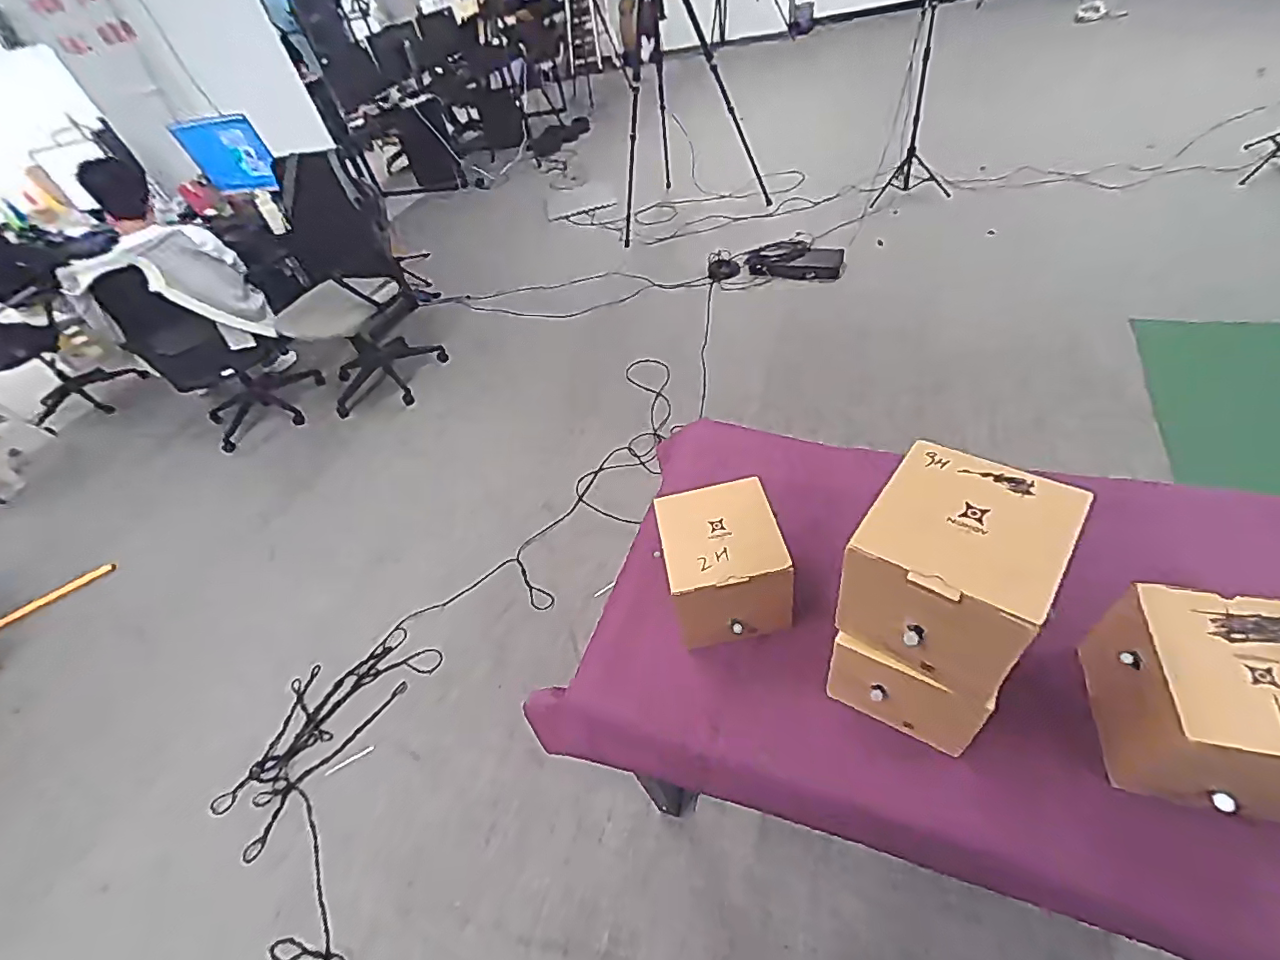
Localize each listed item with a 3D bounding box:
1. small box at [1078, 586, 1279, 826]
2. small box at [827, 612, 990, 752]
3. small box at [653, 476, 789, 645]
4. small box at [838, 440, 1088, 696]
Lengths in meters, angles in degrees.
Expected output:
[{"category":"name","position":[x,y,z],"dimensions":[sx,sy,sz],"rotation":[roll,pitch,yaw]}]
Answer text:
[{"category":"small box","position":[0.619,0.244,0.590],"dimensions":[0.168,0.176,0.179],"rotation":[5,49,19]},{"category":"small box","position":[0.349,0.210,0.691],"dimensions":[0.168,0.176,0.179],"rotation":[20,54,29]},{"category":"small box","position":[0.119,0.124,0.823],"dimensions":[0.168,0.176,0.179],"rotation":[-12,46,3]},{"category":"small box","position":[0.327,0.094,0.577],"dimensions":[0.168,0.176,0.179],"rotation":[27,58,33]}]
